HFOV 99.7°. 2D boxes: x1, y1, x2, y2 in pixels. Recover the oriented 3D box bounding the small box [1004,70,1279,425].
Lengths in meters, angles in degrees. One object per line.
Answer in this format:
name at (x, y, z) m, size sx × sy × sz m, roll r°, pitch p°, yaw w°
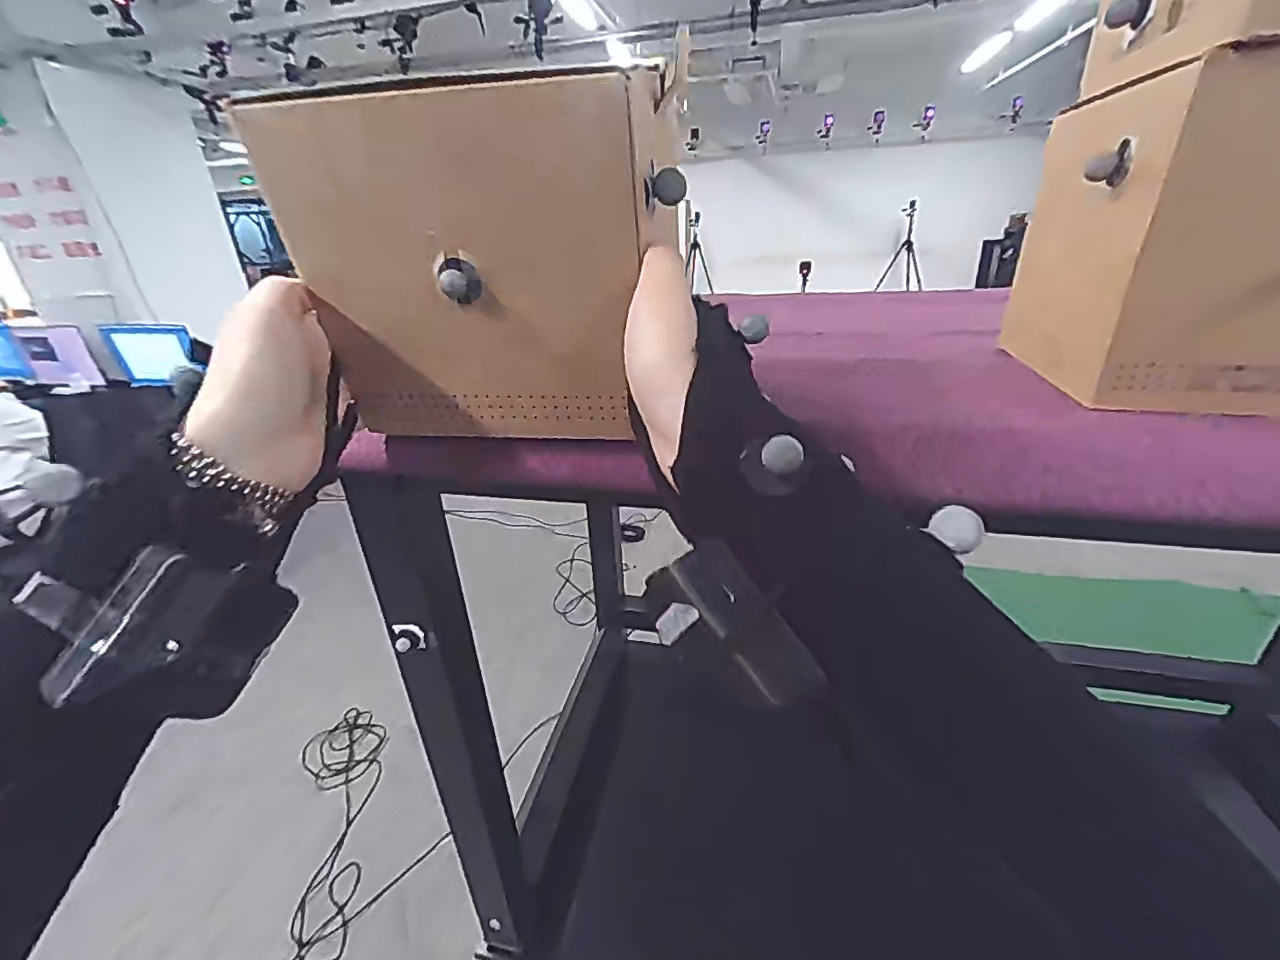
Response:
small box at (0.355, -0.136, 0.327) m, size 0.168 × 0.176 × 0.179 m, roll 6°, pitch 27°, yaw 15°
